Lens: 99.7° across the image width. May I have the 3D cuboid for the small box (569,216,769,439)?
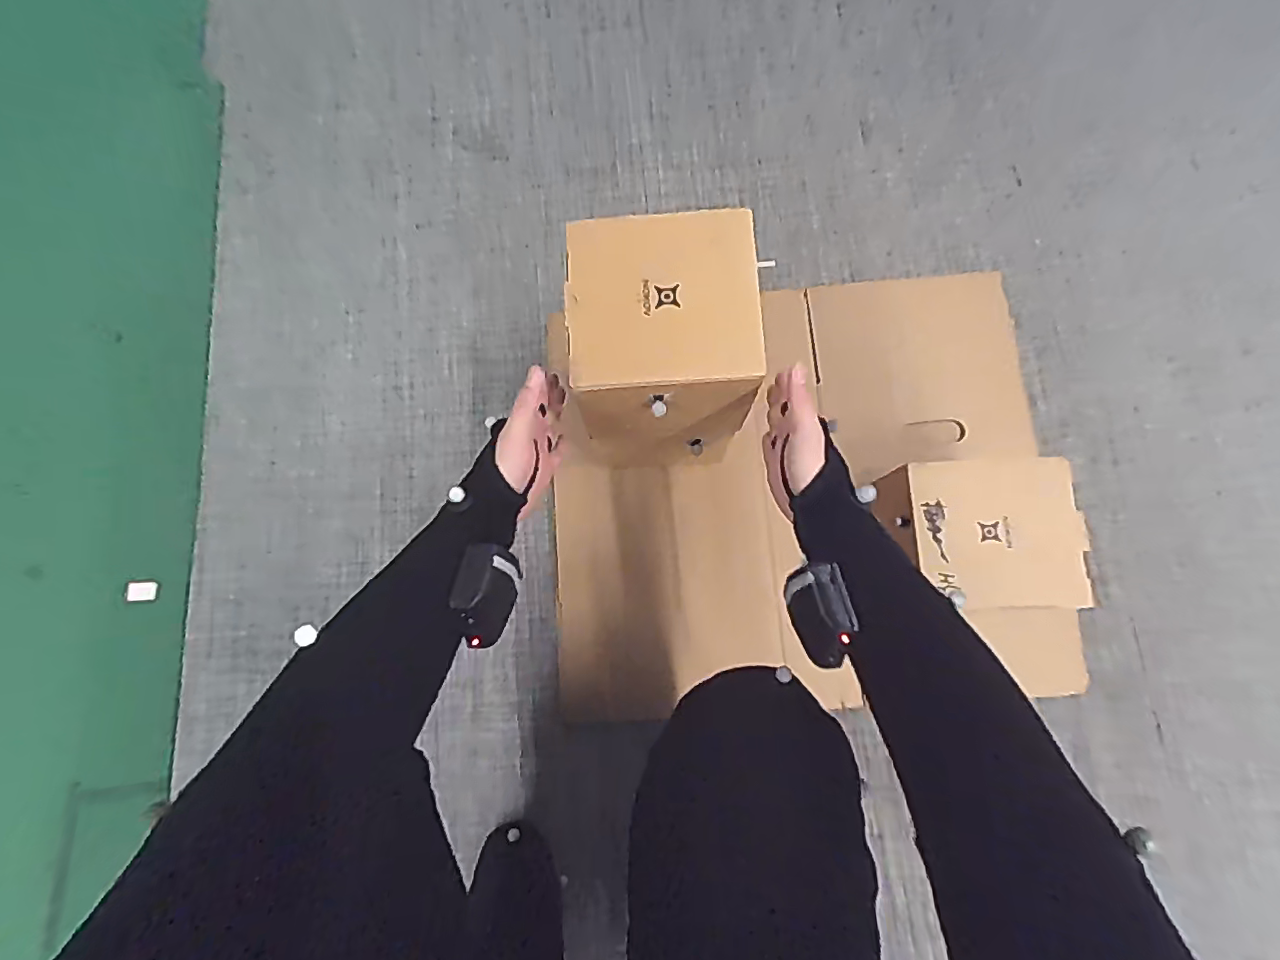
[{"bbox_3d":[0.027,-0.144,0.563,0.179,0.176,0.168,-3,79,3],"label":"small box"}]

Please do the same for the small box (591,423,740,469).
[{"bbox_3d":[0.031,-0.113,0.722,0.179,0.176,0.168,-3,79,3],"label":"small box"}]

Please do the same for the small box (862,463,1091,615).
[{"bbox_3d":[0.394,0.076,0.666,0.179,0.176,0.168,-2,79,5],"label":"small box"}]
